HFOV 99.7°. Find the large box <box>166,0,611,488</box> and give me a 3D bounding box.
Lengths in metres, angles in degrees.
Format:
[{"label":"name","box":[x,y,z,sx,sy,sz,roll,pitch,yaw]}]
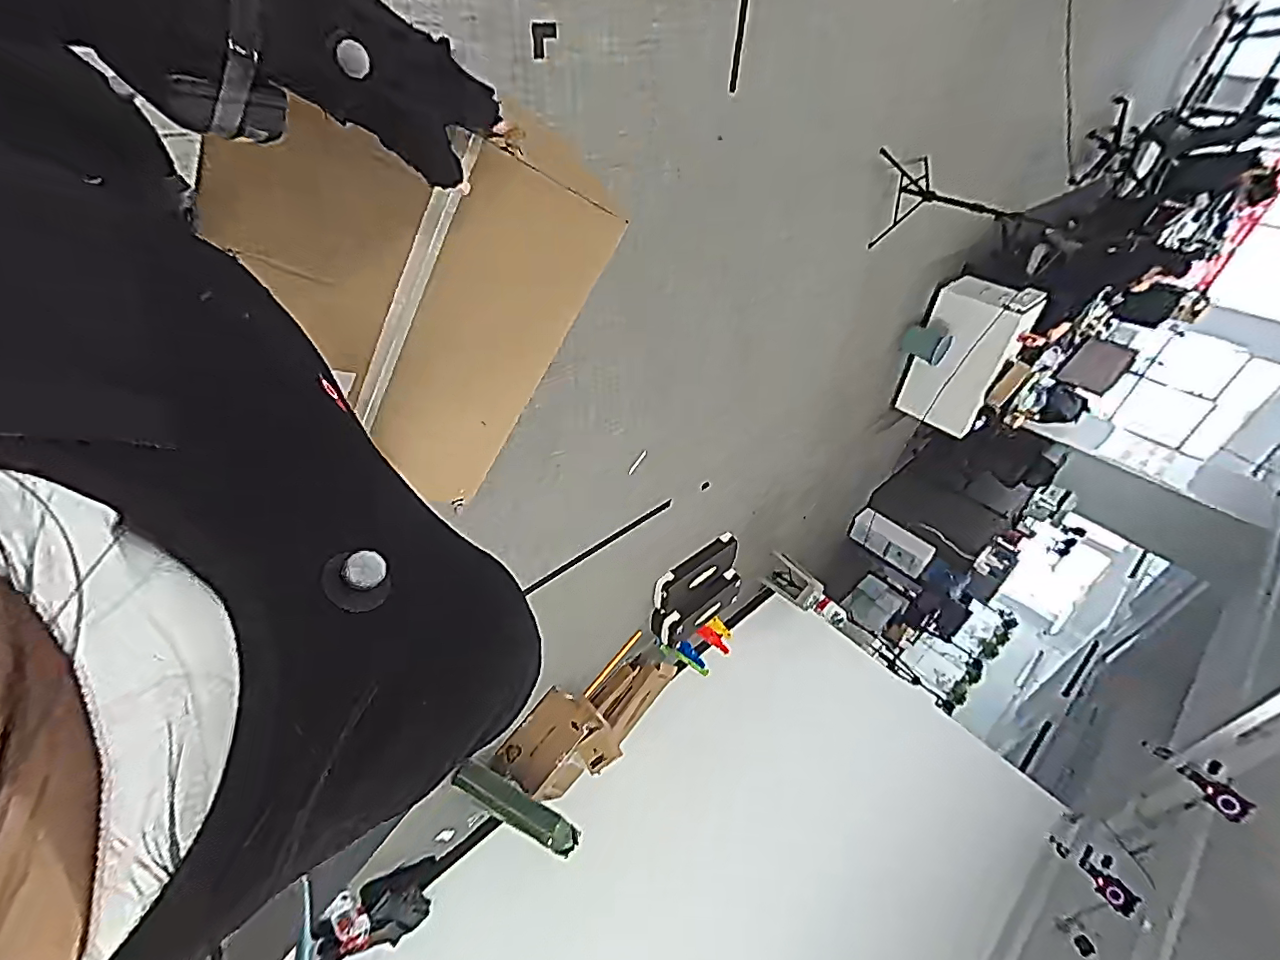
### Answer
[{"label":"large box","box":[-0.295,-0.255,0.618,0.320,0.320,0.408,13,128,-37]}]
